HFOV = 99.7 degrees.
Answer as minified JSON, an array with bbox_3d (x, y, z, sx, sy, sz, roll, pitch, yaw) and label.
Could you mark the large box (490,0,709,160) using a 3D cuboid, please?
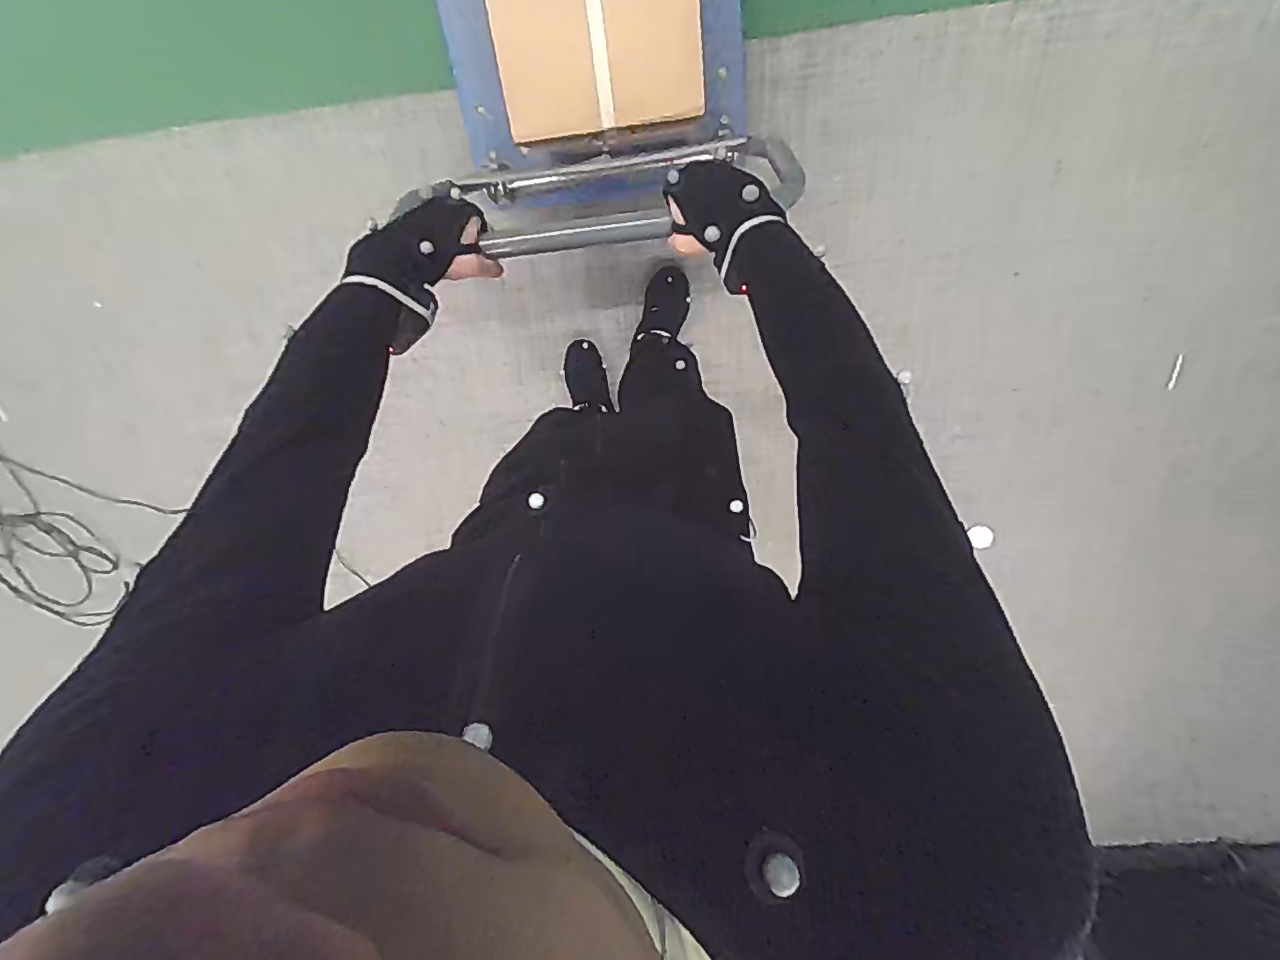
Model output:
[{"bbox_3d":[-0.065,-0.797,0.910,0.320,0.320,0.408,-6,118,4],"label":"large box"}]
